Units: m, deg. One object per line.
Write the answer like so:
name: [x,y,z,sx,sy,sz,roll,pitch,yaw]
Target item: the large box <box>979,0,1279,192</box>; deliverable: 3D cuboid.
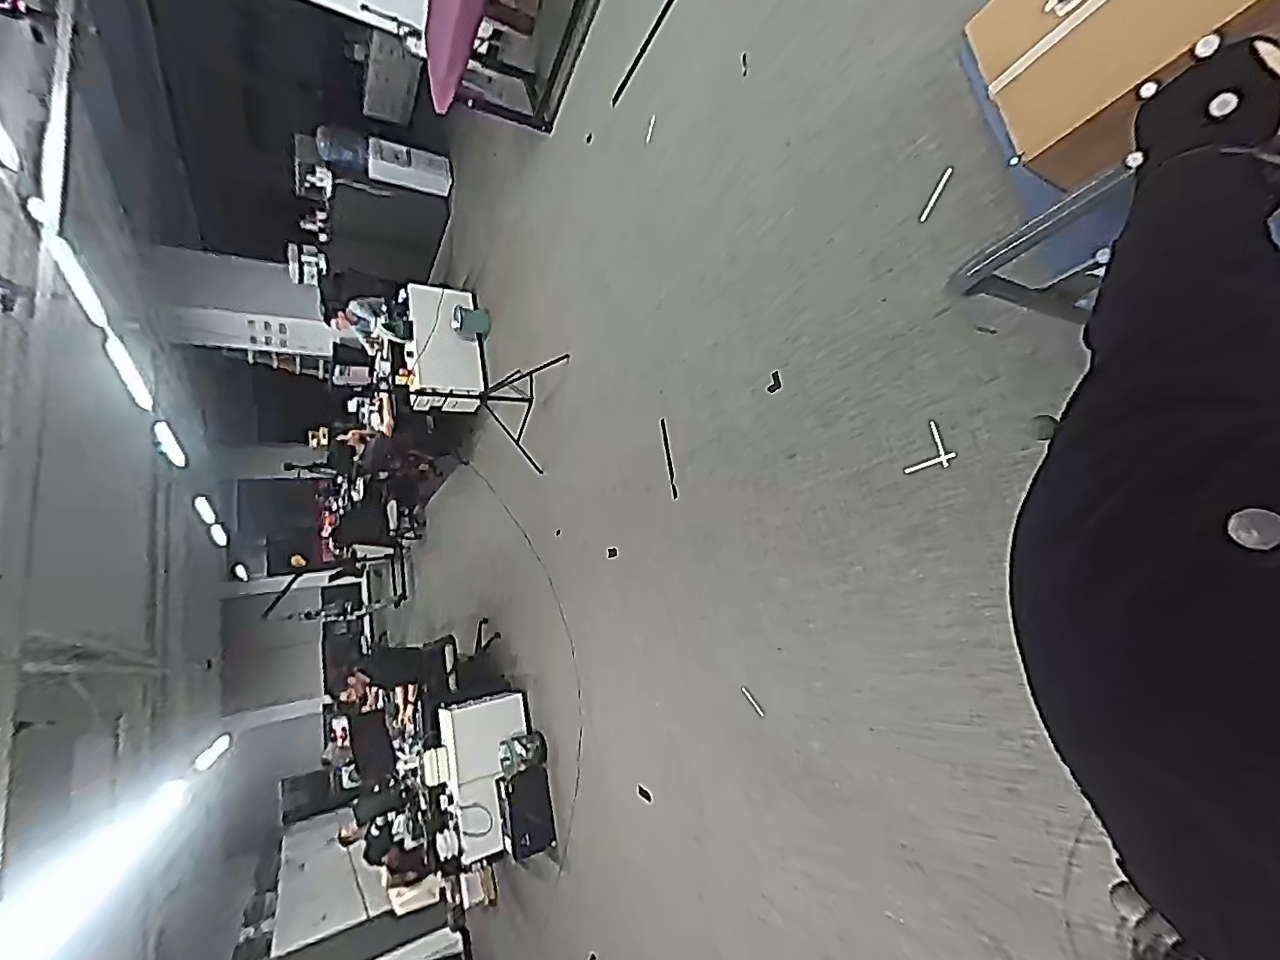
large box: [0.871,-0.762,0.871,0.408,0.320,0.320,-30,66,56]
